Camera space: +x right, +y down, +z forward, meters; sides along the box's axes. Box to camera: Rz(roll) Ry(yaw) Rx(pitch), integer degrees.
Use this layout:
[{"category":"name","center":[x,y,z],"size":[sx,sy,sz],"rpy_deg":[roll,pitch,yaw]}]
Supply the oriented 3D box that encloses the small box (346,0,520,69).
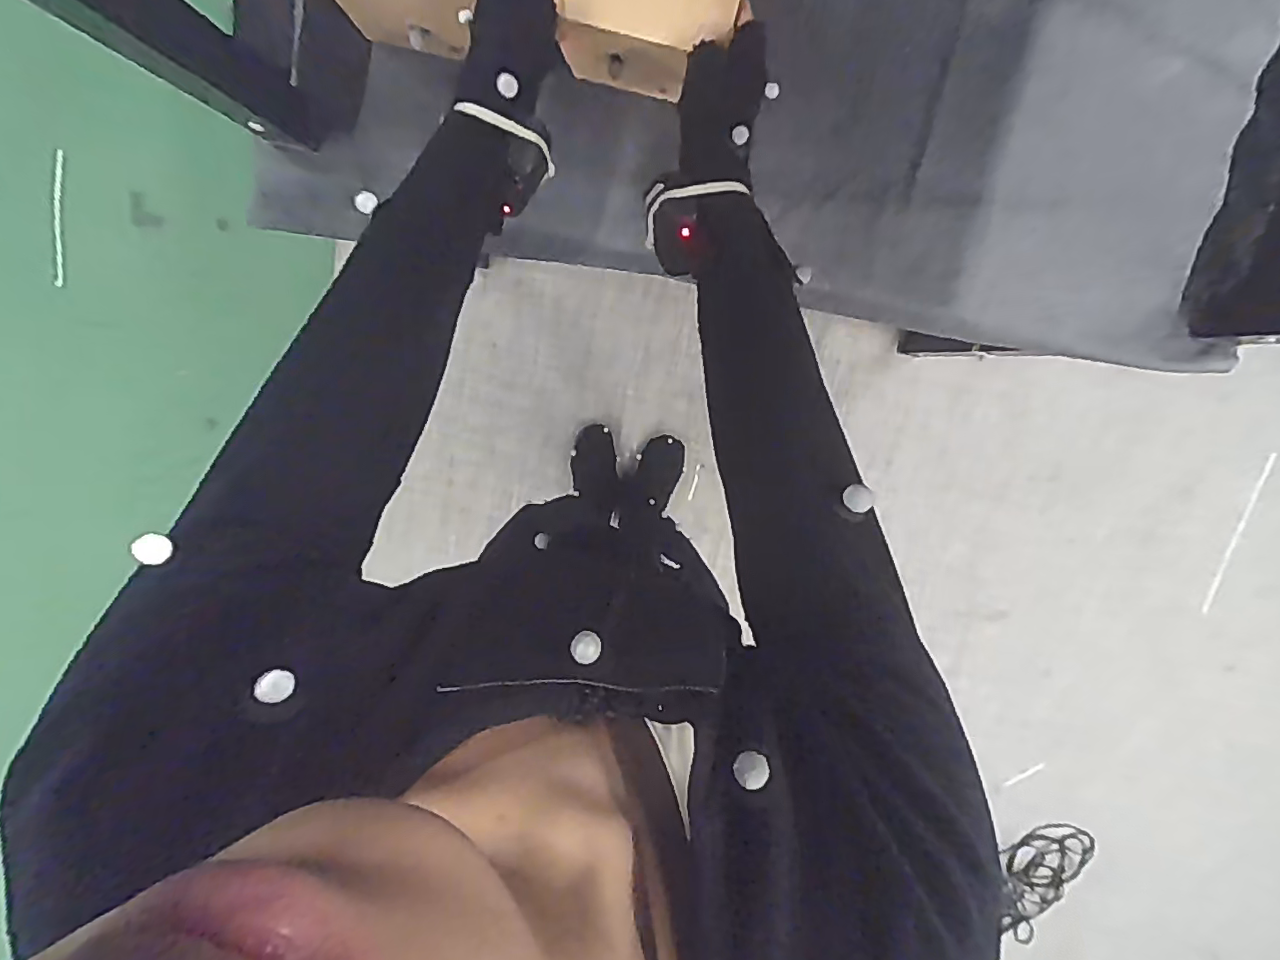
[{"category":"small box","center":[-0.206,-0.543,0.510],"size":[0.168,0.176,0.179],"rpy_deg":[11,102,-4]}]

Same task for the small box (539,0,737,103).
[{"category":"small box","center":[0.015,-0.492,0.511],"size":[0.168,0.176,0.179],"rpy_deg":[13,110,-2]}]
